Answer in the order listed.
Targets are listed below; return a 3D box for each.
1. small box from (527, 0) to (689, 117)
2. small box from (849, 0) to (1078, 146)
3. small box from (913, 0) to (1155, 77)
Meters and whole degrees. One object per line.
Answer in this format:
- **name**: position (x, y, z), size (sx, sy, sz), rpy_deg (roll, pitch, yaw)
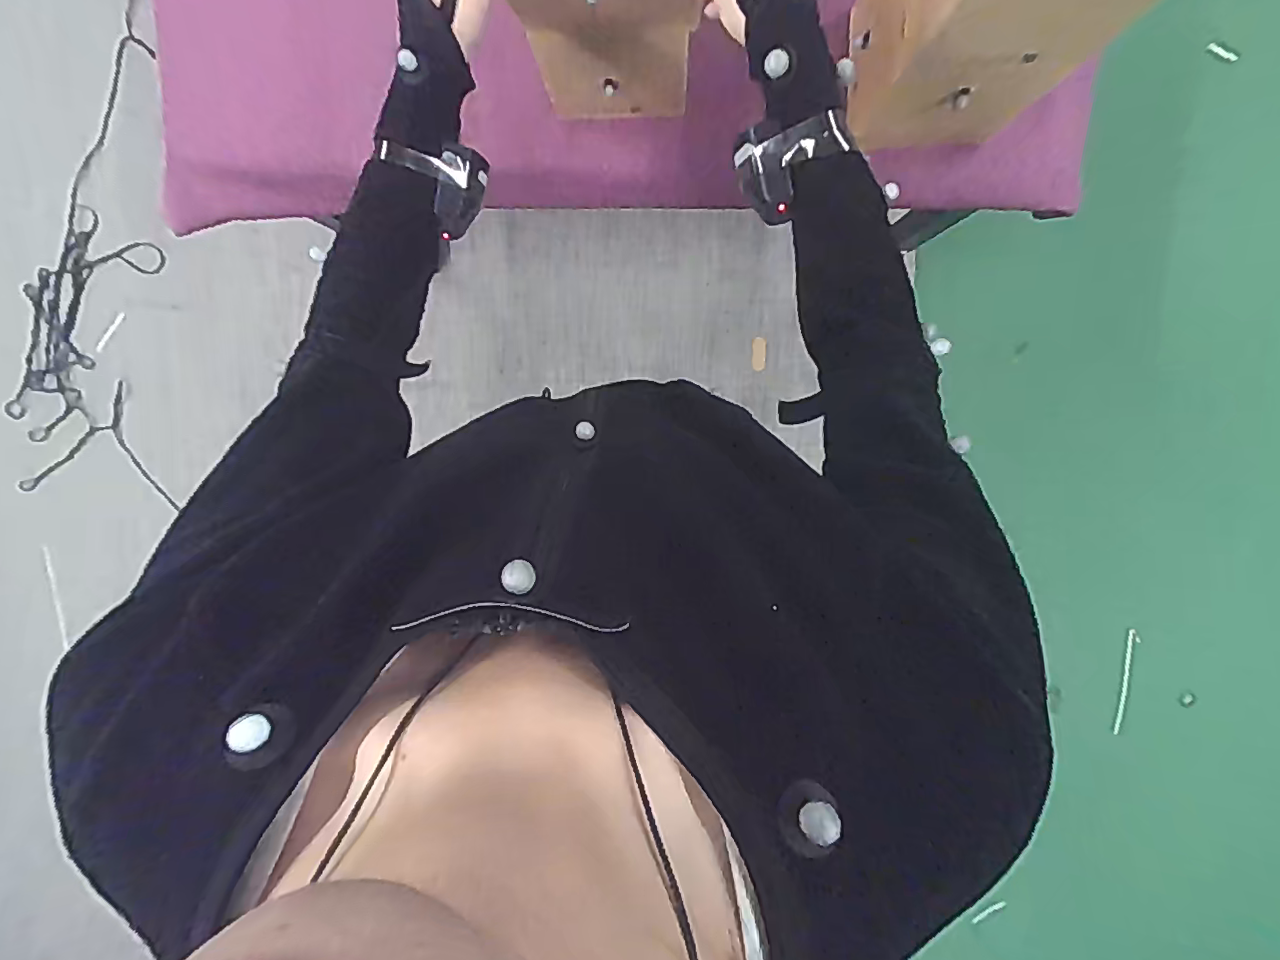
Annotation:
- **small box**: position (-0.027, -0.545, 0.619), size (0.168, 0.176, 0.179), rpy_deg (1, 98, 4)
- **small box**: position (0.349, -0.497, 0.601), size (0.179, 0.176, 0.168), rpy_deg (-1, 99, 5)
- **small box**: position (0.340, -0.474, 0.439), size (0.168, 0.176, 0.179), rpy_deg (0, 99, 6)
